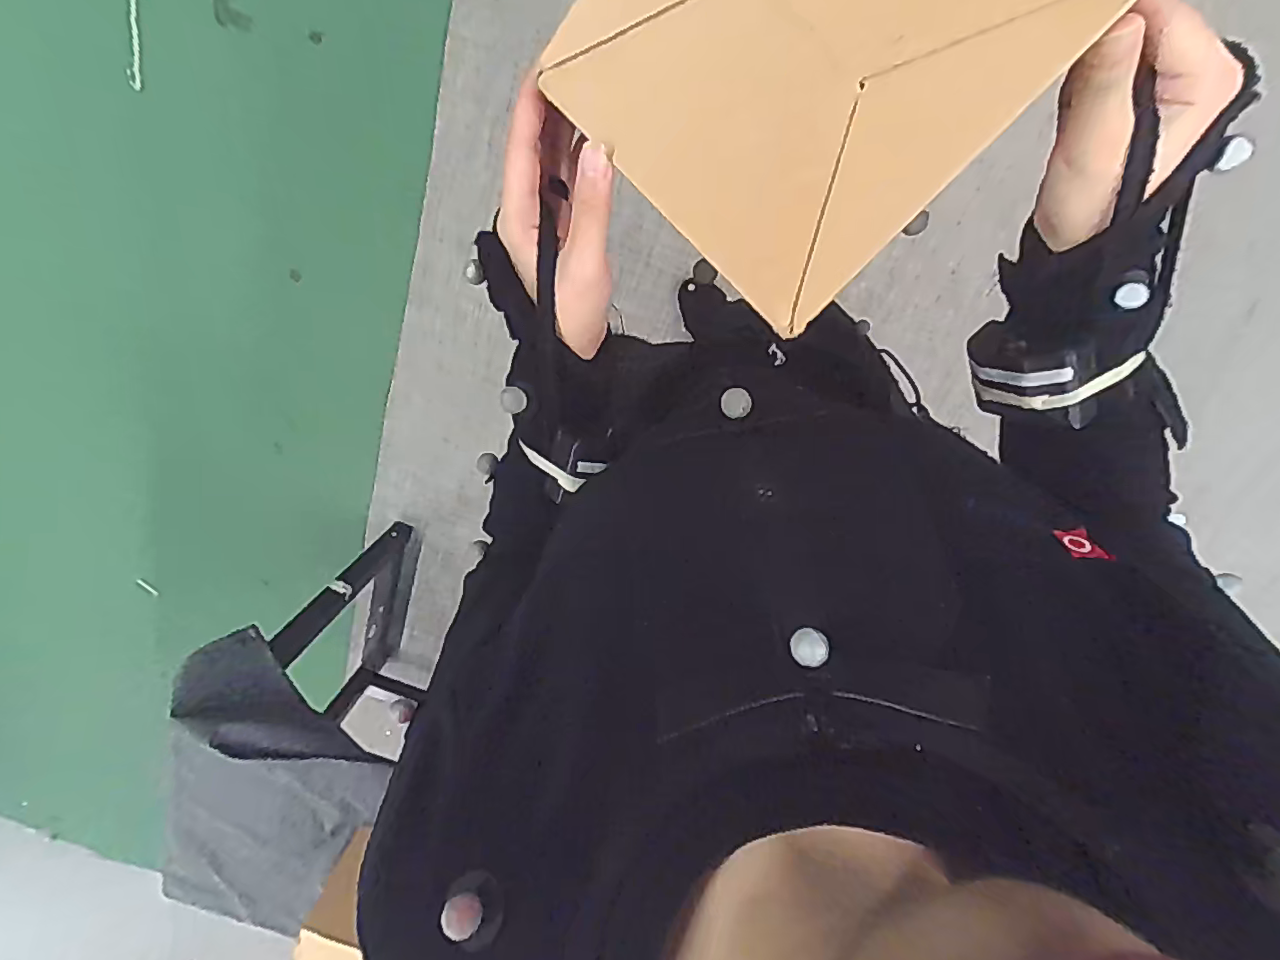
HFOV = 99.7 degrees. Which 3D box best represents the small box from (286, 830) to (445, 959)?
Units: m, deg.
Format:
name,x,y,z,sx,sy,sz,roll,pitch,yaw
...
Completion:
name,x,y,z,sx,sy,sz,roll,pitch,yaw
small box,-0.469,0.748,0.934,0.179,0.176,0.168,22,115,-3
